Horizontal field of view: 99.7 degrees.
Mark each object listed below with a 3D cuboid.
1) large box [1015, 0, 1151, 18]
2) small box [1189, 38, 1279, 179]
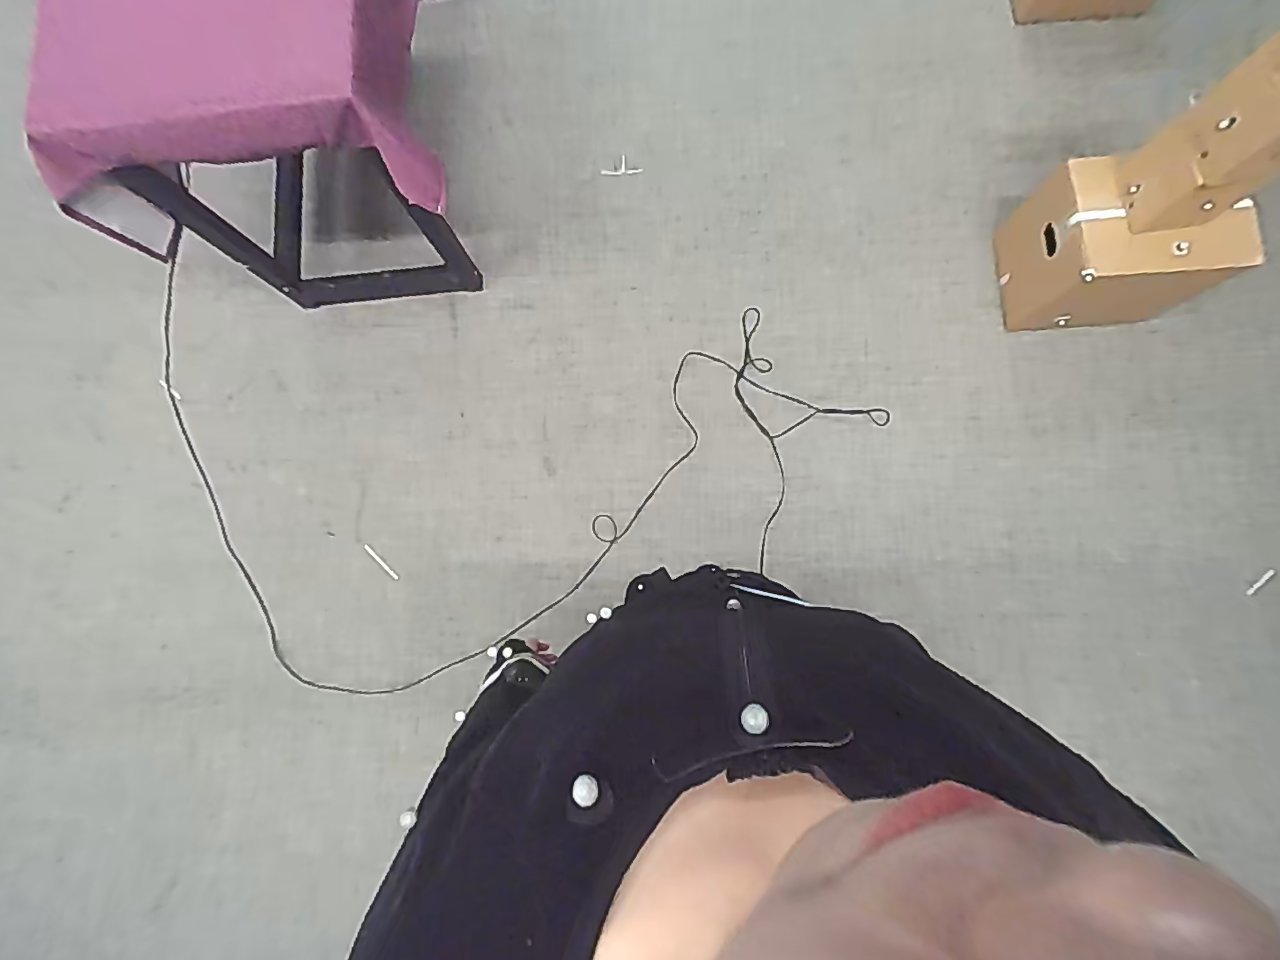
[{"bbox_3d":[1.371,-1.635,1.573,0.408,0.320,0.320,-3,82,1],"label":"large box"},{"bbox_3d":[1.221,-0.714,1.035,0.179,0.176,0.168,-11,80,2],"label":"small box"}]
